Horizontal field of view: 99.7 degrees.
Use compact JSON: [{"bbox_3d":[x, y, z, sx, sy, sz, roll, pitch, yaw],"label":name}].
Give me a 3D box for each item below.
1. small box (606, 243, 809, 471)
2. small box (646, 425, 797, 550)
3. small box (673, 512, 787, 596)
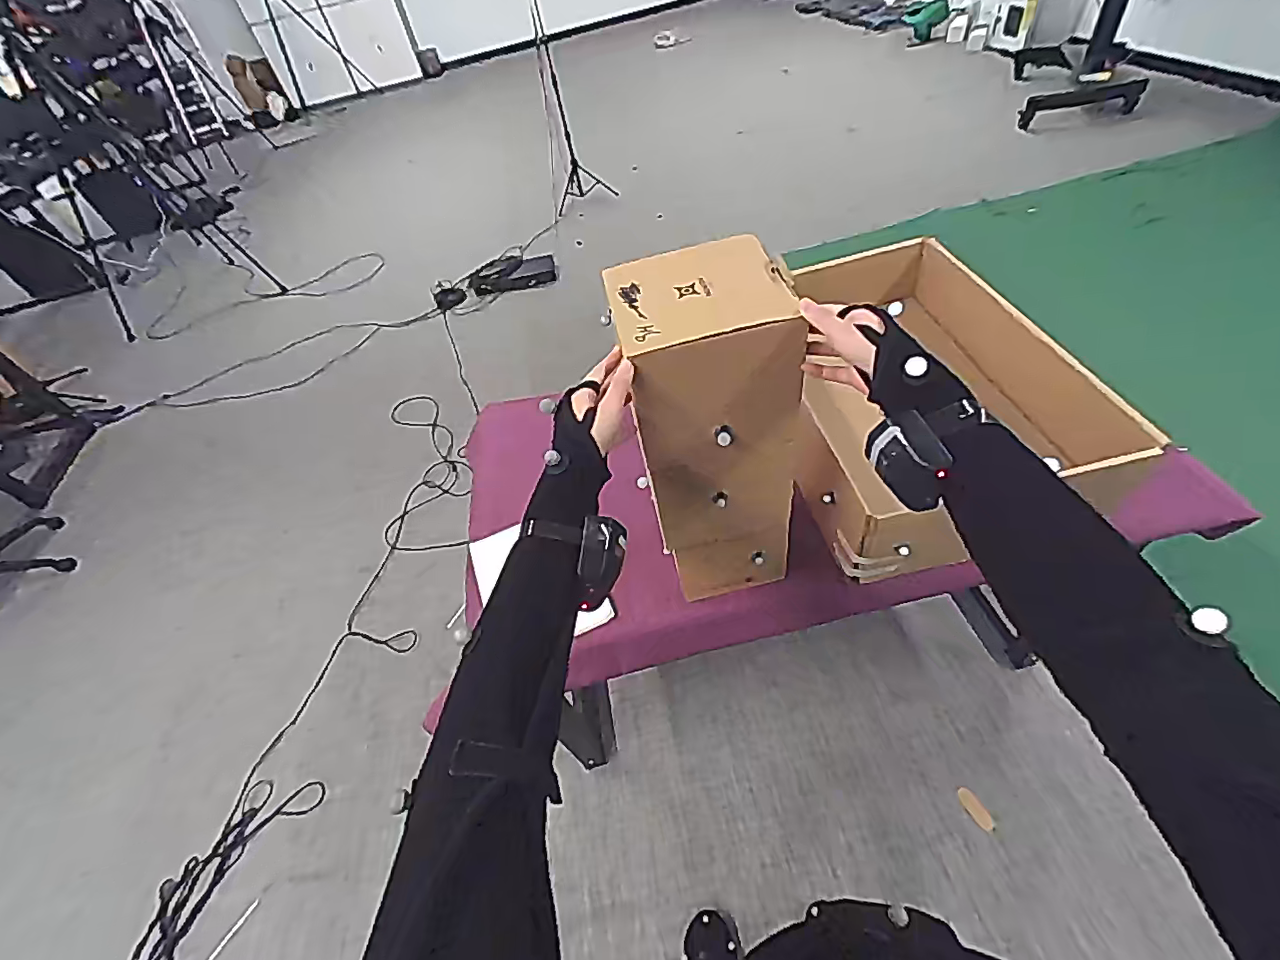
[{"bbox_3d":[0.068,-0.133,0.604,0.179,0.176,0.168,-12,48,0],"label":"small box"},{"bbox_3d":[0.096,-0.029,0.728,0.179,0.176,0.168,-13,48,1],"label":"small box"},{"bbox_3d":[0.127,0.067,0.858,0.168,0.176,0.179,-13,48,1],"label":"small box"}]
